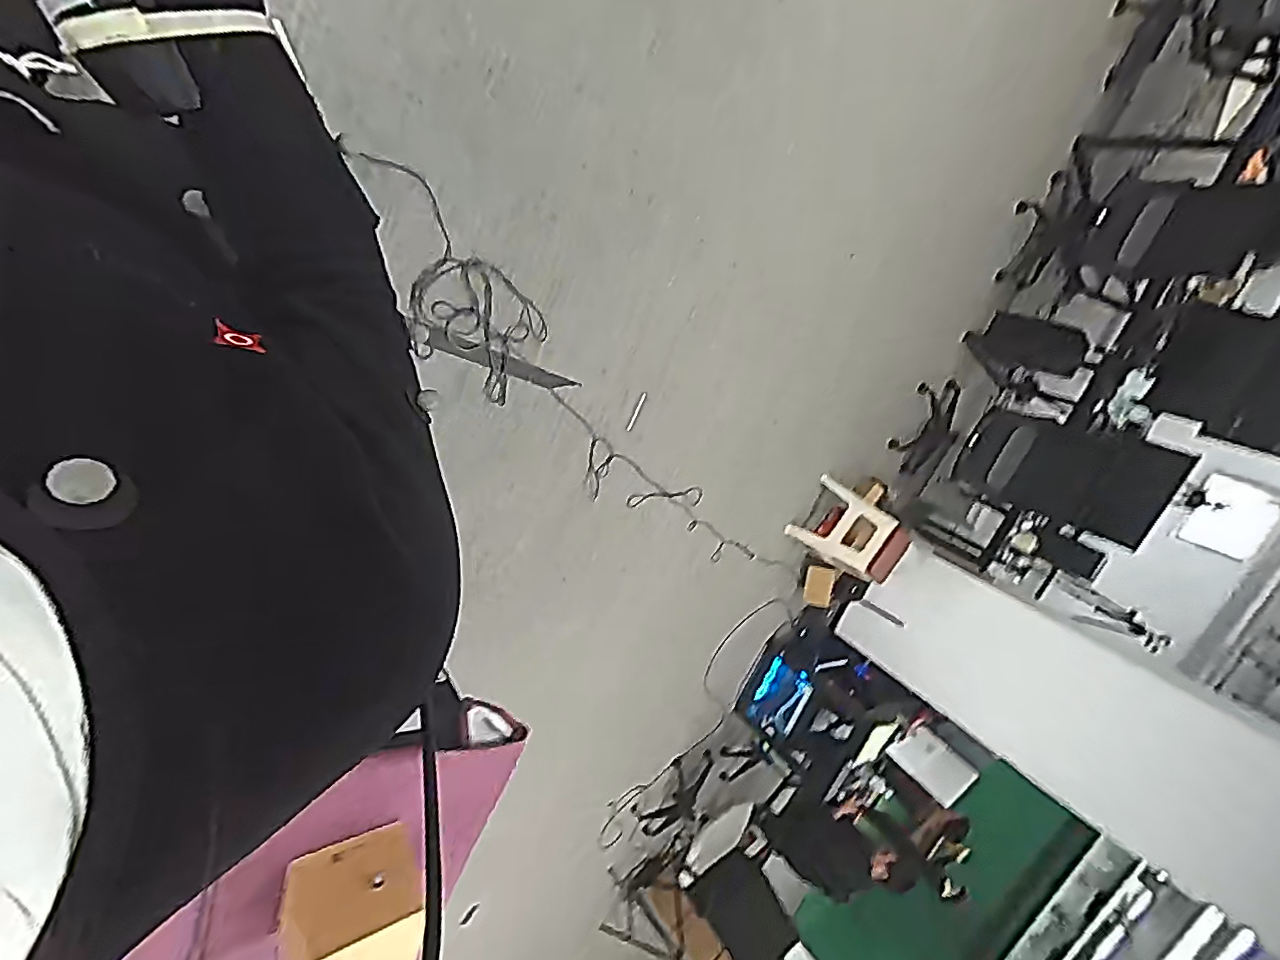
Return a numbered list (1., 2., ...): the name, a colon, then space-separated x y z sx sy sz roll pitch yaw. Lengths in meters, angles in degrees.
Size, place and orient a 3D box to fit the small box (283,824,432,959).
1. small box: -0.459 0.697 0.870 0.168 0.176 0.179 2 113 -43
